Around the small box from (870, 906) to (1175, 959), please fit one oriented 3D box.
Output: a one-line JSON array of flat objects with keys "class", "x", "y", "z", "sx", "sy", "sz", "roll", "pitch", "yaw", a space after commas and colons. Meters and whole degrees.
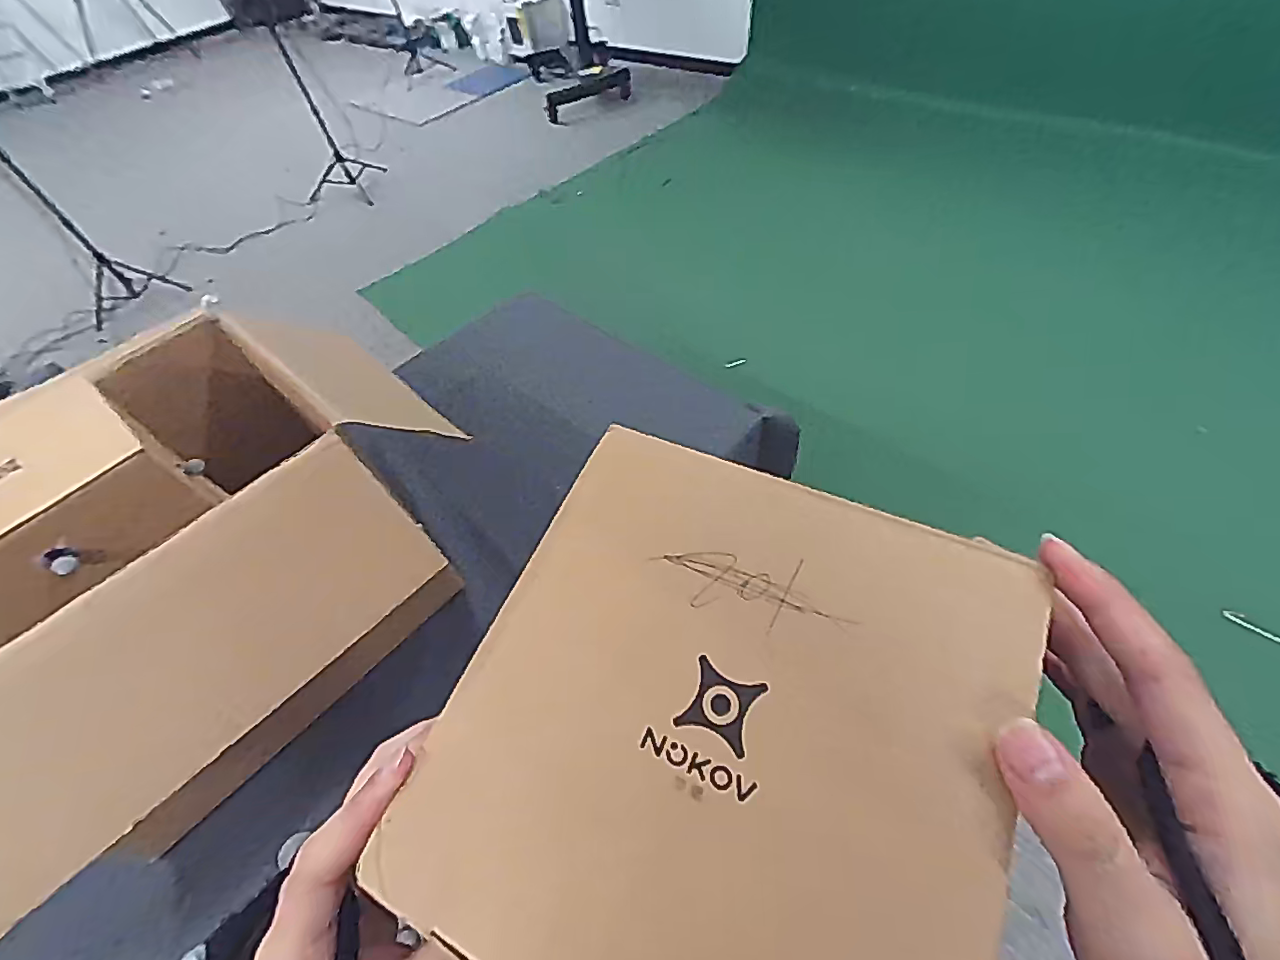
[{"class": "small box", "x": 0.079, "y": 0.206, "z": 0.068, "sx": 0.179, "sy": 0.168, "sz": 0.176, "roll": 3, "pitch": 93, "yaw": -22}]
